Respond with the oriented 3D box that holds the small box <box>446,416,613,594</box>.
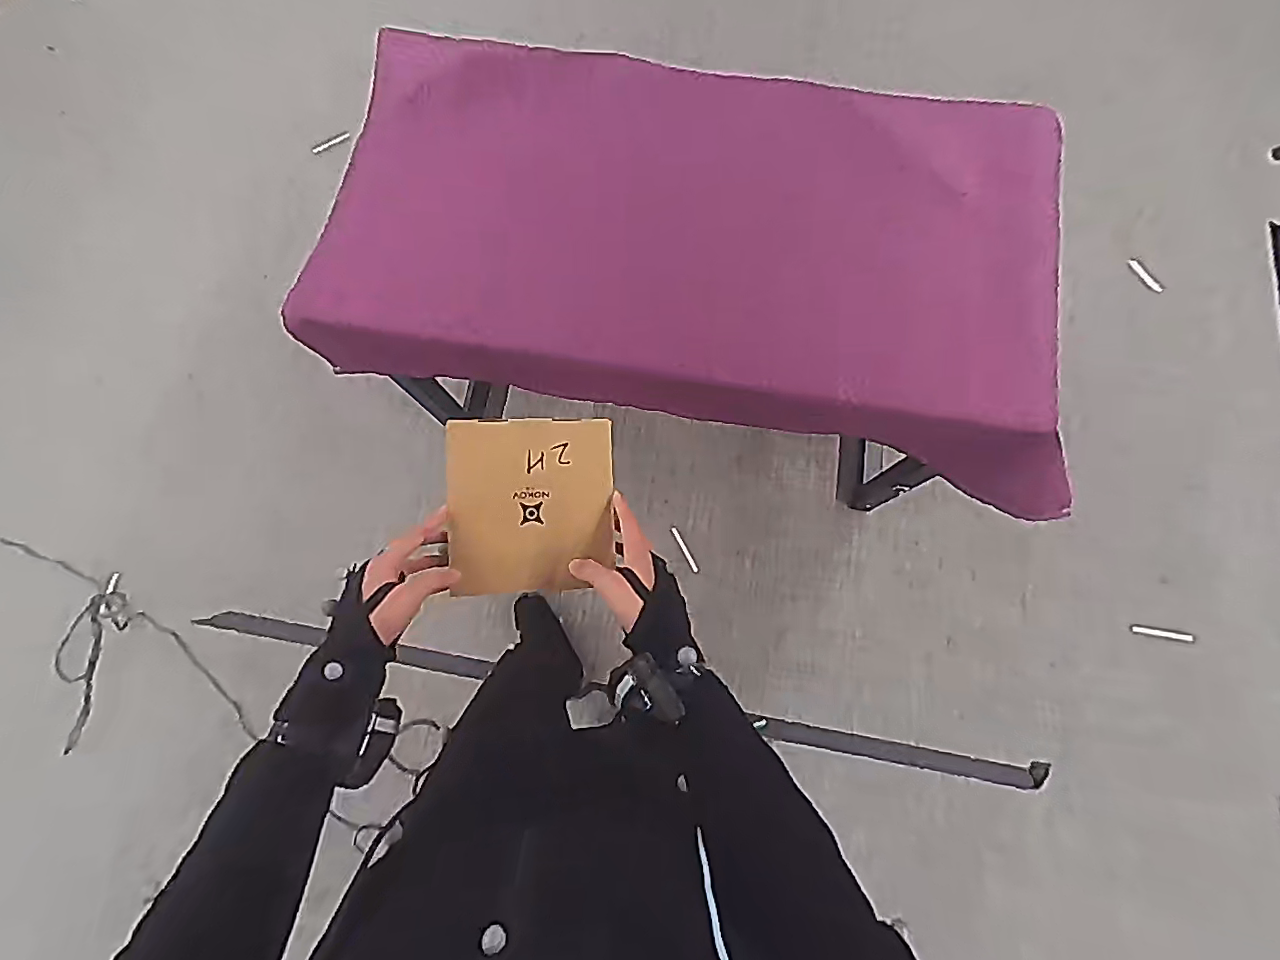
[{"bbox_3d":[-0.120,0.026,0.617,0.168,0.176,0.179,-1,87,-9],"label":"small box"}]
